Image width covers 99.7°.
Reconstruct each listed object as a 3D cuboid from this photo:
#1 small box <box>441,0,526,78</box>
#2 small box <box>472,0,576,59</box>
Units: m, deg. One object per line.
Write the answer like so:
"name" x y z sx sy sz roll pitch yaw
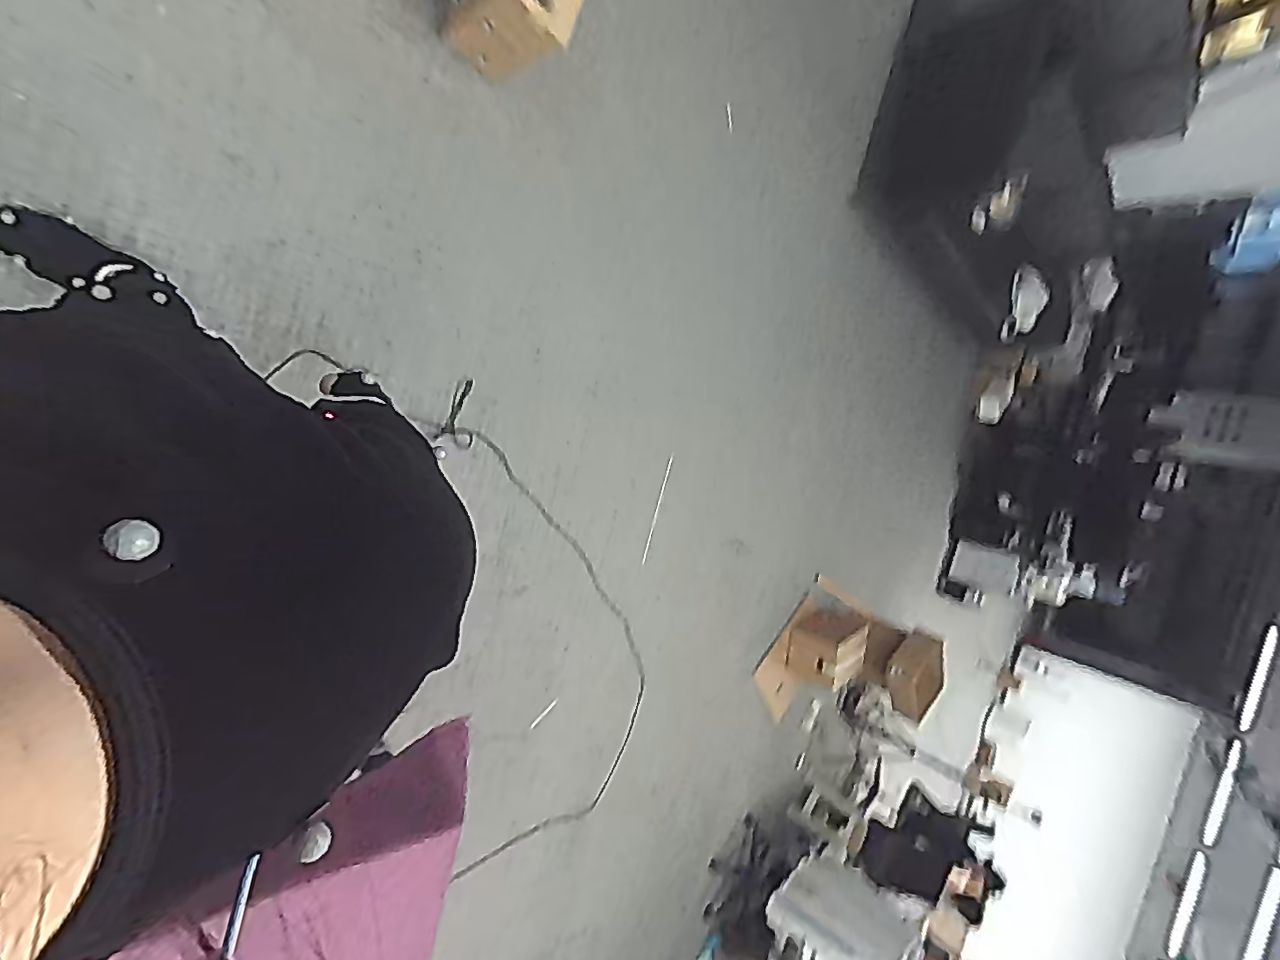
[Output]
"small box" -0.368 -1.147 1.334 0.168 0.176 0.179 17 91 -46
"small box" -0.257 -1.107 1.218 0.168 0.176 0.179 19 88 -46
